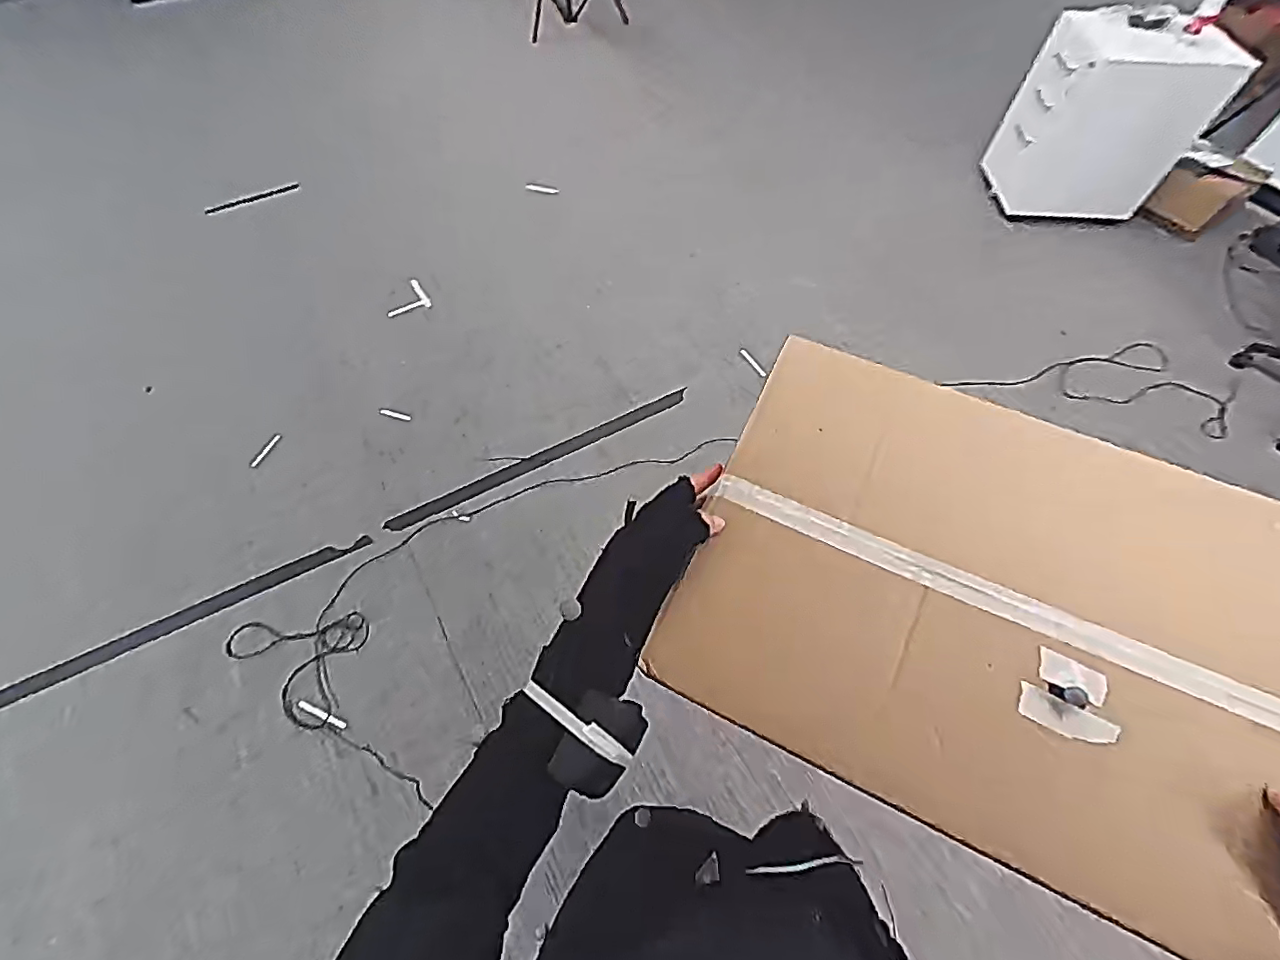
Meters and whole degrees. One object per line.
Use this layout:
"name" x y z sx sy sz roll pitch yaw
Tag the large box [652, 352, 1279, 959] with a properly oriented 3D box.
"large box" 0.259 0.137 0.544 0.408 0.320 0.320 24 74 13
